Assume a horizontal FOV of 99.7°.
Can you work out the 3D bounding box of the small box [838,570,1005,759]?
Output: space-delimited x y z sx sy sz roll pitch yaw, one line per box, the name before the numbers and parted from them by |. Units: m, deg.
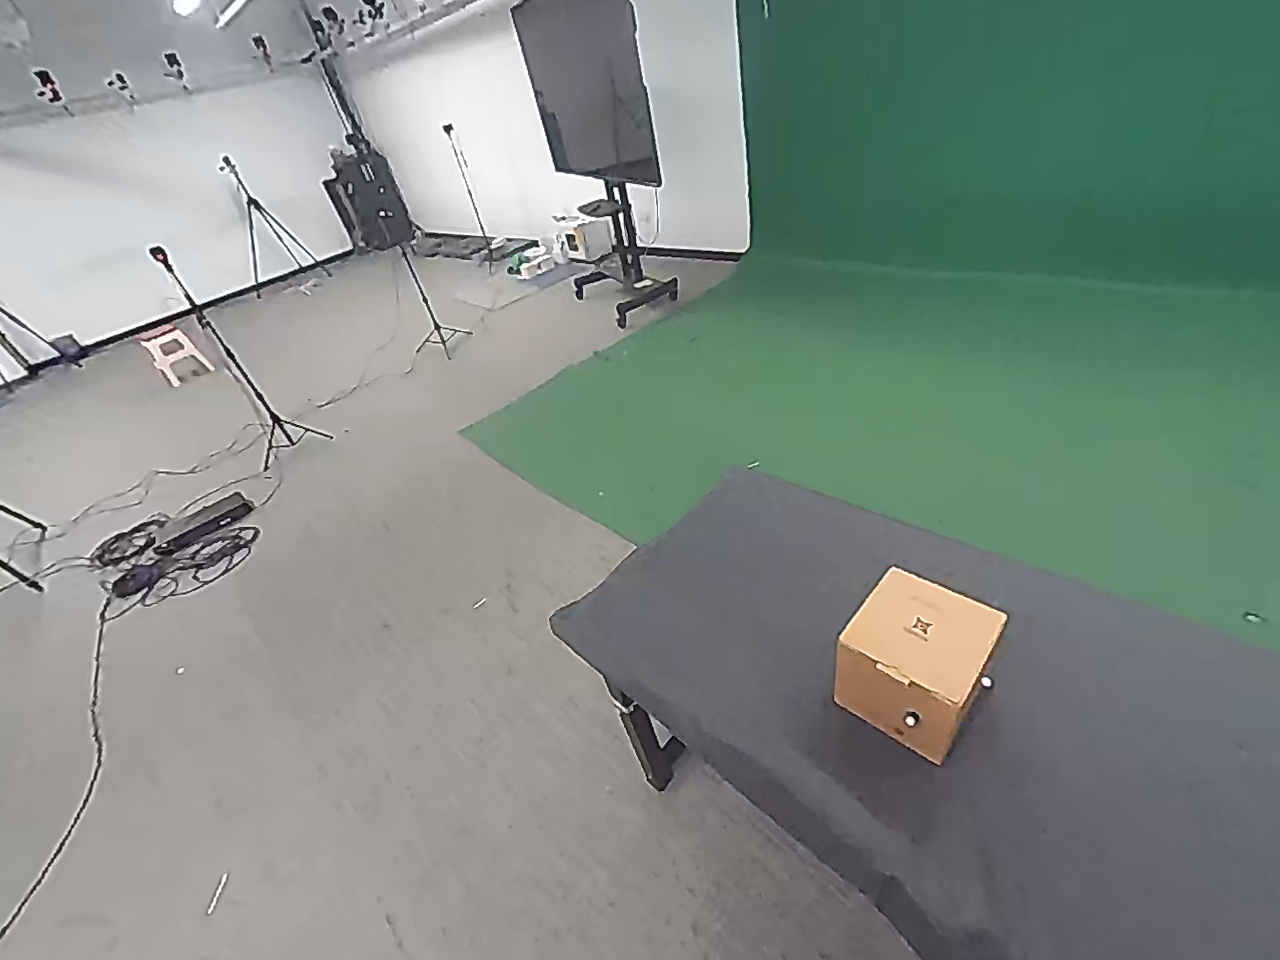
small box | 0.418 0.279 0.821 0.168 0.176 0.179 25 50 38
